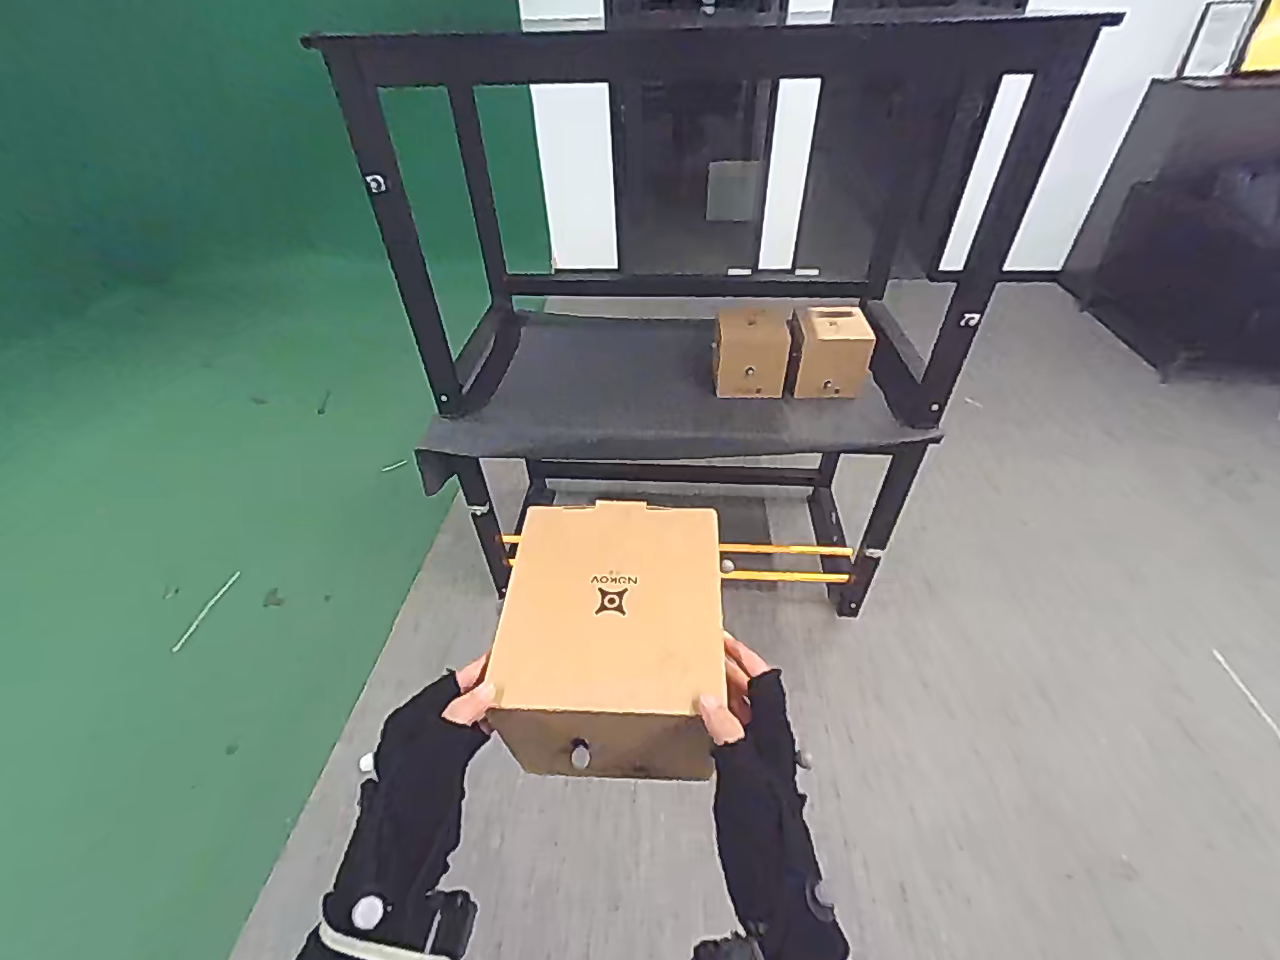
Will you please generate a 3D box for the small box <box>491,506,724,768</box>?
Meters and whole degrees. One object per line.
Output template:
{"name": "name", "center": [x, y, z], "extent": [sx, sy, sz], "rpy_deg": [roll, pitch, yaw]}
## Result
{"name": "small box", "center": [-0.016, 0.142, 0.482], "extent": [0.168, 0.176, 0.179], "rpy_deg": [0, 47, 3]}
